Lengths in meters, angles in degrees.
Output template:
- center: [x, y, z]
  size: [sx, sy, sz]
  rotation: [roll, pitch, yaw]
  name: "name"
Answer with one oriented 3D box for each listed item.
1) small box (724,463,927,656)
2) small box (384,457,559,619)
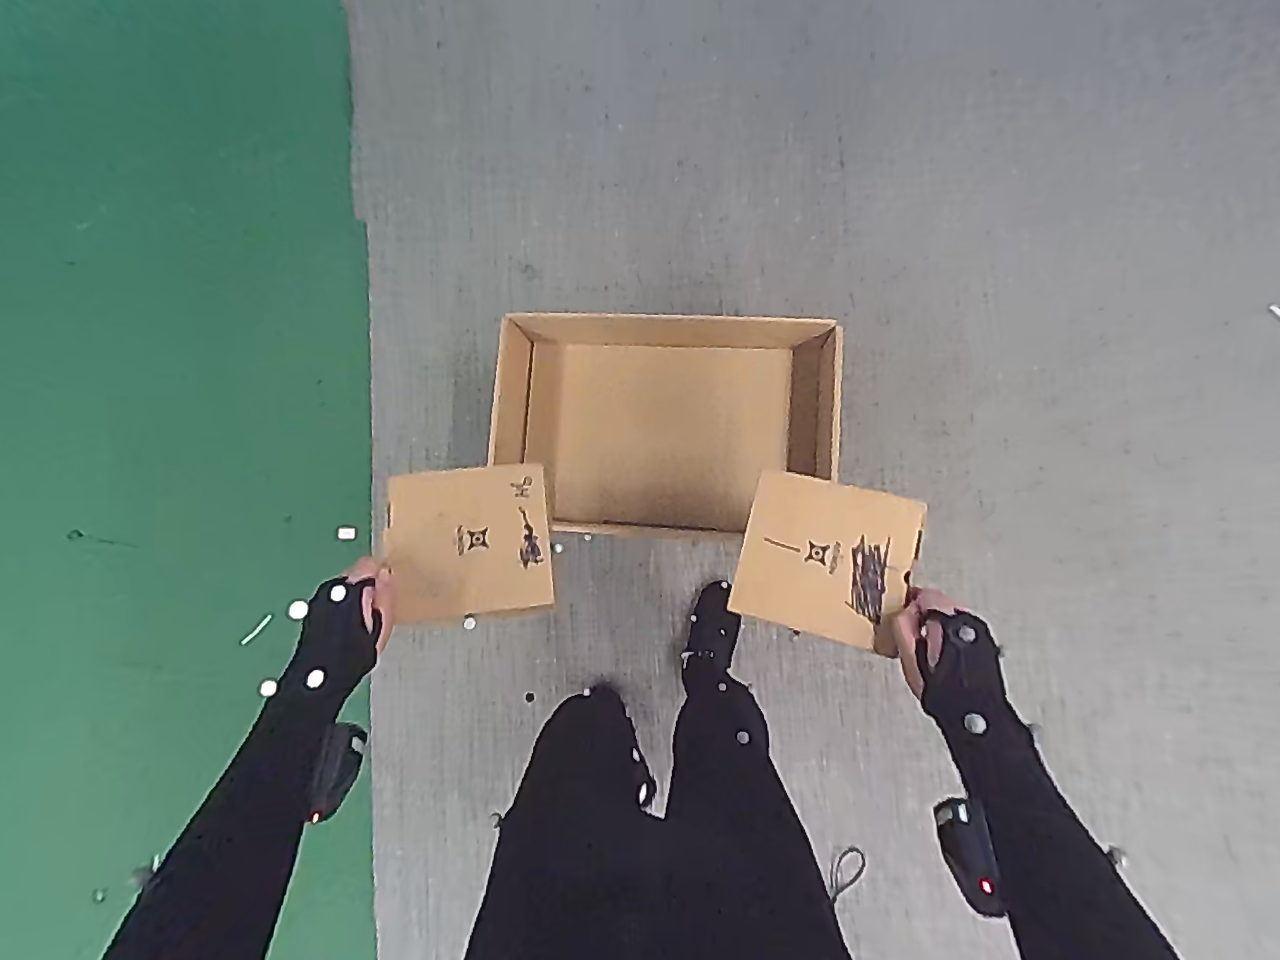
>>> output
- center: [0.209, 0.095, 0.640]
  size: [0.179, 0.176, 0.168]
  rotation: [14, 79, 16]
  name: "small box"
- center: [-0.195, 0.079, 0.668]
  size: [0.179, 0.176, 0.168]
  rotation: [-4, 74, -8]
  name: "small box"
